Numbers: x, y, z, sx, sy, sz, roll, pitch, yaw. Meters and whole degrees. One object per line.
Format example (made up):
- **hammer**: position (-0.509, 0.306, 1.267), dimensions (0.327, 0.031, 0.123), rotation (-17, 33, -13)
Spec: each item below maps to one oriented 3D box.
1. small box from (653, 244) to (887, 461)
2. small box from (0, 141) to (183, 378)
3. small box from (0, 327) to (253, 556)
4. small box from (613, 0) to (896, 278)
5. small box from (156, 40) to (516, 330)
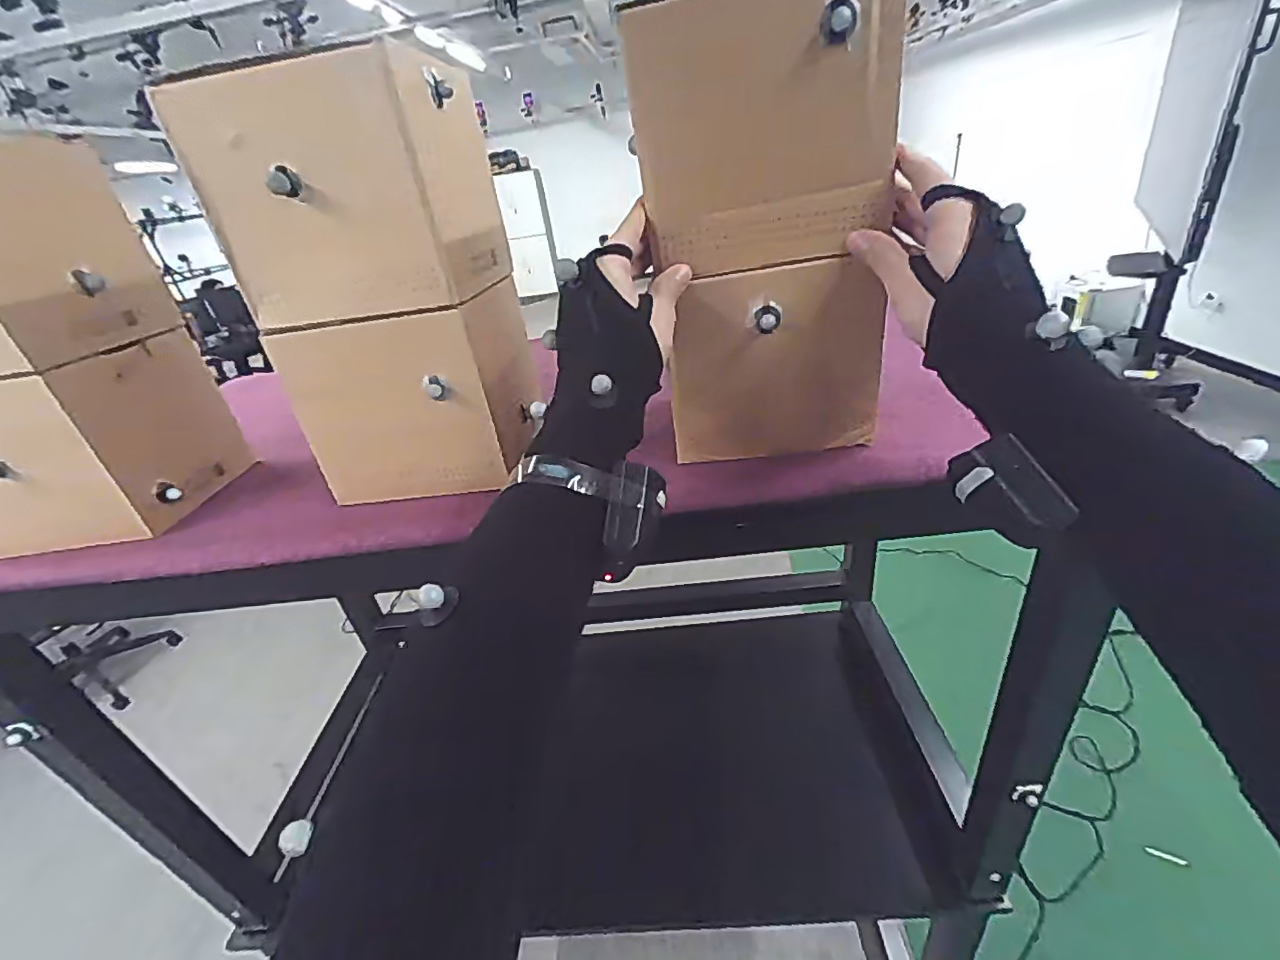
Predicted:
- **small box**: position (0.114, -0.128, 0.508), dimensions (0.179, 0.176, 0.168), rotation (-5, 31, 8)
- **small box**: position (-0.575, -0.185, 0.473), dimensions (0.179, 0.176, 0.168), rotation (-7, 30, 4)
- **small box**: position (-0.554, -0.042, 0.552), dimensions (0.179, 0.176, 0.168), rotation (-8, 29, 4)
- **small box**: position (0.089, -0.266, 0.427), dimensions (0.179, 0.176, 0.168), rotation (-4, 32, 10)
- **small box**: position (-0.227, -0.235, 0.460), dimensions (0.179, 0.176, 0.168), rotation (-6, 30, 7)
